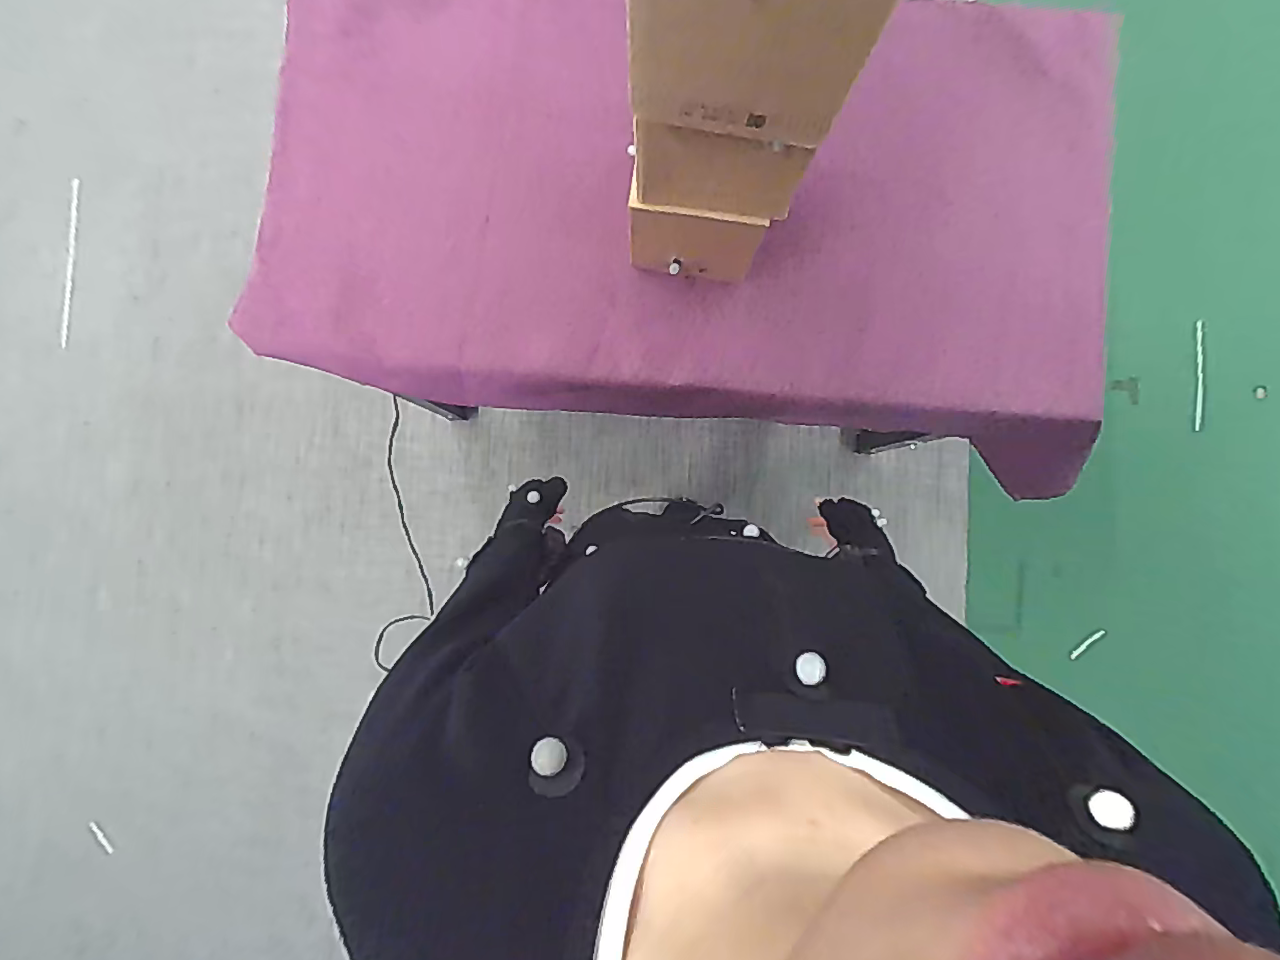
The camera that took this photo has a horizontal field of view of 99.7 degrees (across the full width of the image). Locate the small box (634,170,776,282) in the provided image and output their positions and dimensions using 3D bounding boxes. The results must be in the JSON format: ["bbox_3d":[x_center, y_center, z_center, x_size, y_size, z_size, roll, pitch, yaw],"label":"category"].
[{"bbox_3d":[0.084,-0.382,0.694,0.168,0.176,0.179,9,88,1],"label":"small box"}]

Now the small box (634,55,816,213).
[{"bbox_3d":[0.091,-0.390,0.533,0.179,0.176,0.168,7,88,0],"label":"small box"}]

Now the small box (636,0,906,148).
[{"bbox_3d":[0.090,-0.374,0.369,0.168,0.176,0.179,10,87,1],"label":"small box"}]
